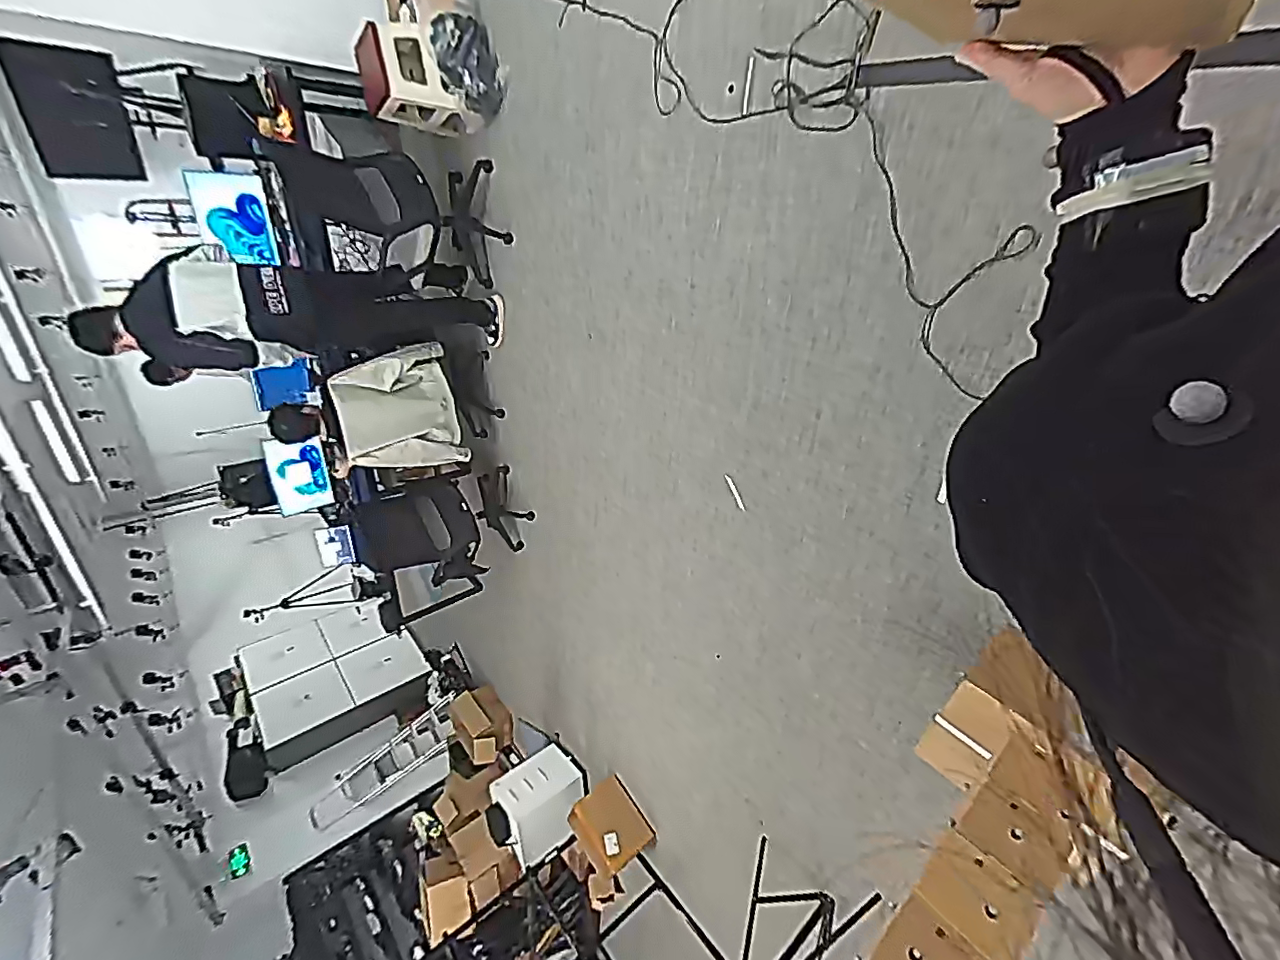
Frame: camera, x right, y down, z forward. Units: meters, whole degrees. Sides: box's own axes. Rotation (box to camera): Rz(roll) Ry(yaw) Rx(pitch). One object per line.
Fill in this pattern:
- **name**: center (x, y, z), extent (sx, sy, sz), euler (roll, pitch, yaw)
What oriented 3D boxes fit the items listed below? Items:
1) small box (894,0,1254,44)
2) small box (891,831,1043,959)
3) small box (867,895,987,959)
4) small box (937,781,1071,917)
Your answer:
- **small box**: center (0.235, -0.332, 0.264), extent (0.179, 0.176, 0.168), euler (32, 132, 31)
- **small box**: center (0.591, 0.790, 0.980), extent (0.168, 0.176, 0.179), euler (34, 131, 38)
- **small box**: center (0.468, 0.841, 0.886), extent (0.168, 0.176, 0.179), euler (34, 133, 39)
- **small box**: center (0.715, 0.749, 1.077), extent (0.168, 0.176, 0.179), euler (36, 132, 37)
